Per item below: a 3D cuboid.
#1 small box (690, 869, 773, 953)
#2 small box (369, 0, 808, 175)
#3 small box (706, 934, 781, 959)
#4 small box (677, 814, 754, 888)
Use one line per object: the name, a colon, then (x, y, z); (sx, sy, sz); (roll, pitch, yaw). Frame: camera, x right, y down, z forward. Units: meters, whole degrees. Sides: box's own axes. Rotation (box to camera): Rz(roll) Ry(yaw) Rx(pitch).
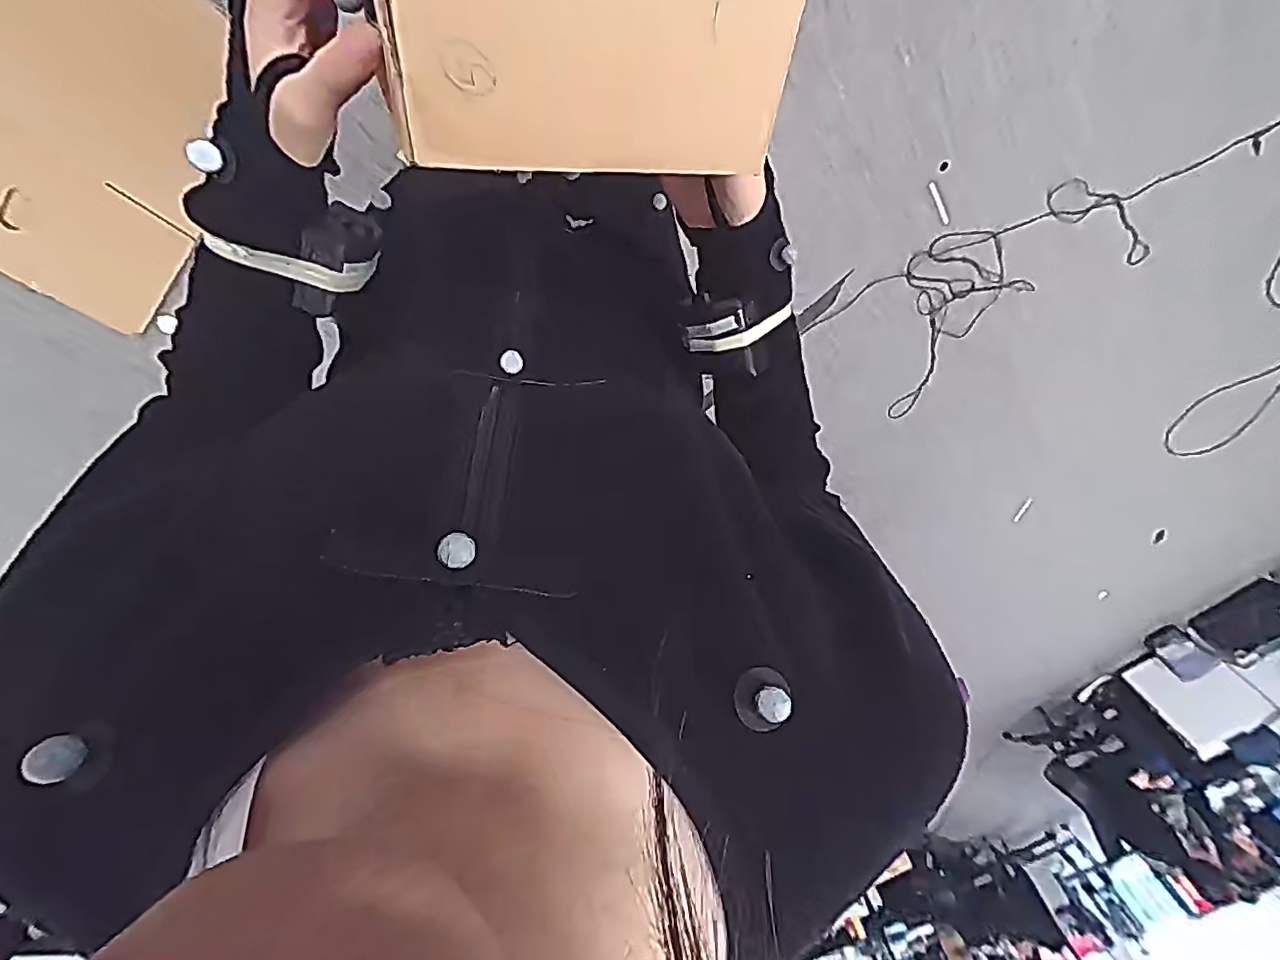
small box: (0.285, 1.358, 1.705); (0.168, 0.176, 0.179); (-37, 129, 13)
small box: (-0.035, -0.257, 0.248); (0.179, 0.176, 0.168); (-12, 139, -21)
small box: (0.317, 1.455, 1.577); (0.168, 0.176, 0.179); (-37, 129, 13)
small box: (0.252, 1.261, 1.832); (0.168, 0.176, 0.179); (-39, 128, 15)
